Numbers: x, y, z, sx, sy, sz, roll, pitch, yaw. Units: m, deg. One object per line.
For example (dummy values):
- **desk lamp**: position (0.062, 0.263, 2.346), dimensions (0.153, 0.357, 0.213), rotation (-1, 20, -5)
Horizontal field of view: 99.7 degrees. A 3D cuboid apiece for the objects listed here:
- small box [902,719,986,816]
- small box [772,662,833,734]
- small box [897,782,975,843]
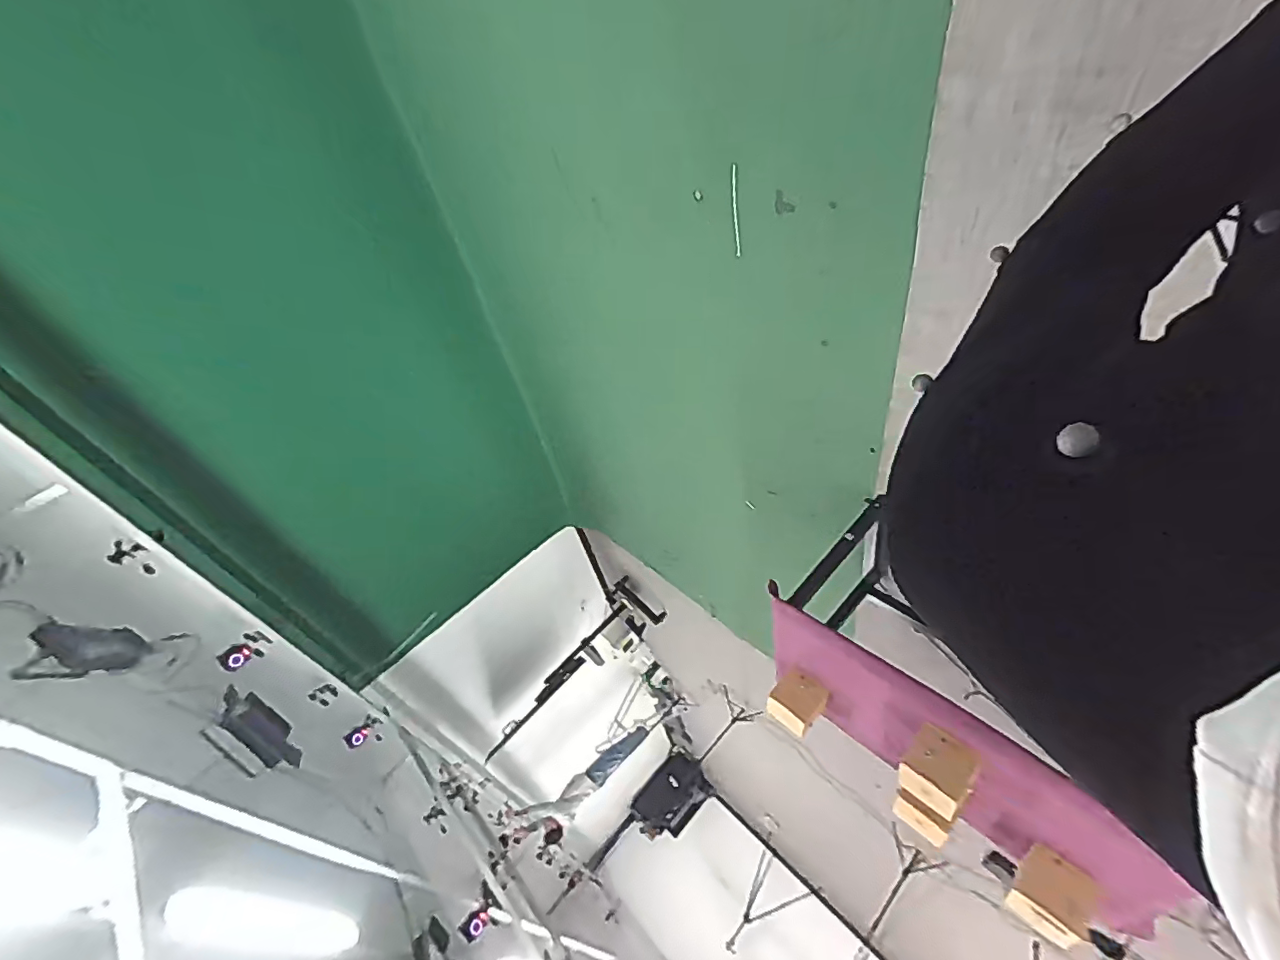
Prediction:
- **small box**: position (0.925, 0.870, 1.646), dimensions (0.168, 0.176, 0.179), rotation (29, 151, 41)
- **small box**: position (0.644, 0.861, 2.144), dimensions (0.168, 0.176, 0.179), rotation (33, 151, 34)
- **small box**: position (0.998, 1.071, 1.825), dimensions (0.168, 0.176, 0.179), rotation (31, 149, 39)
